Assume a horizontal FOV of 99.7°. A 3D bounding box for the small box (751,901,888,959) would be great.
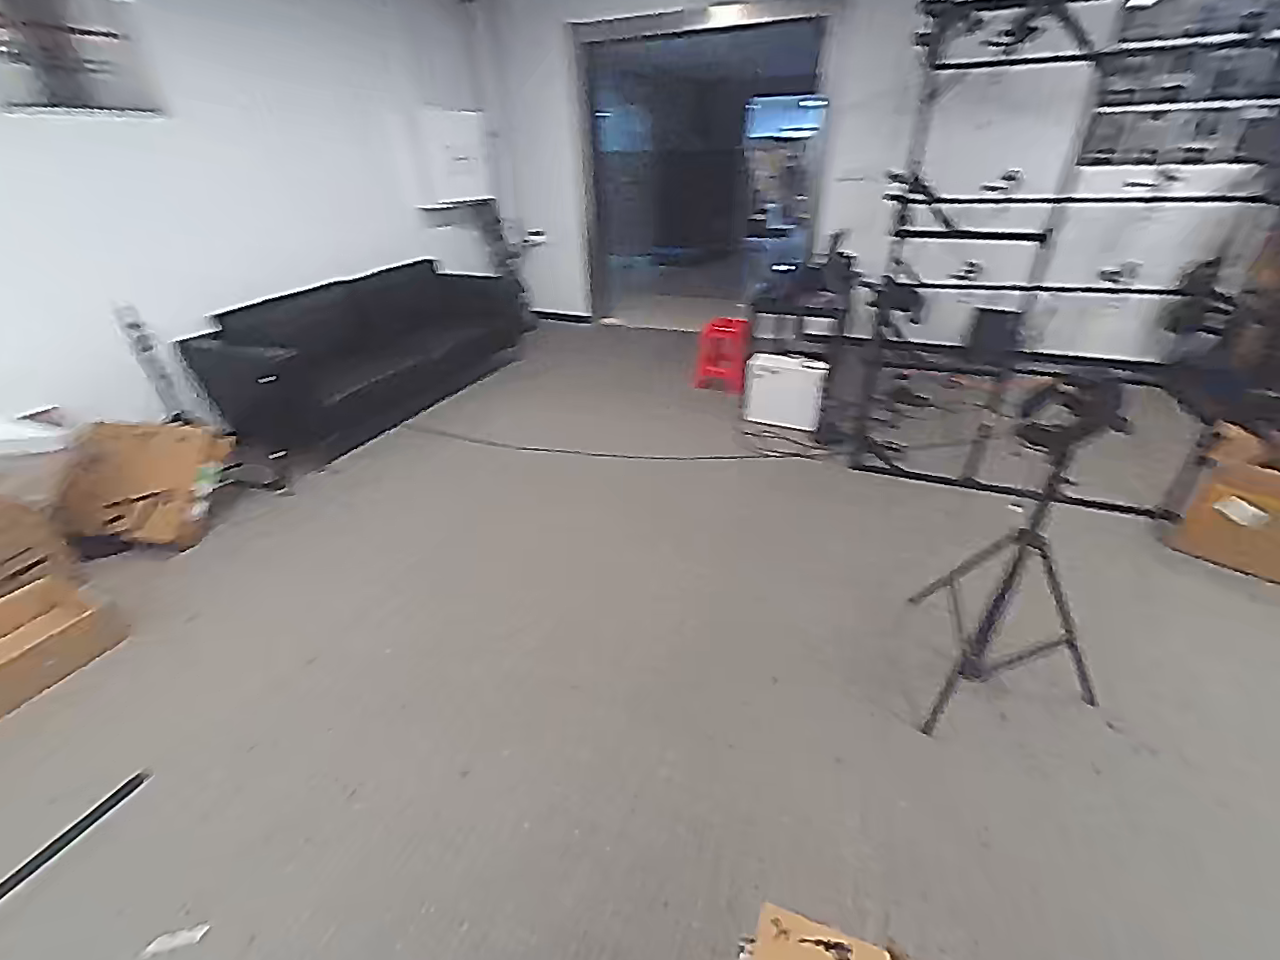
[{"bbox_3d":[0.219,0.709,0.702,0.168,0.176,0.179,10,36,20],"label":"small box"}]
